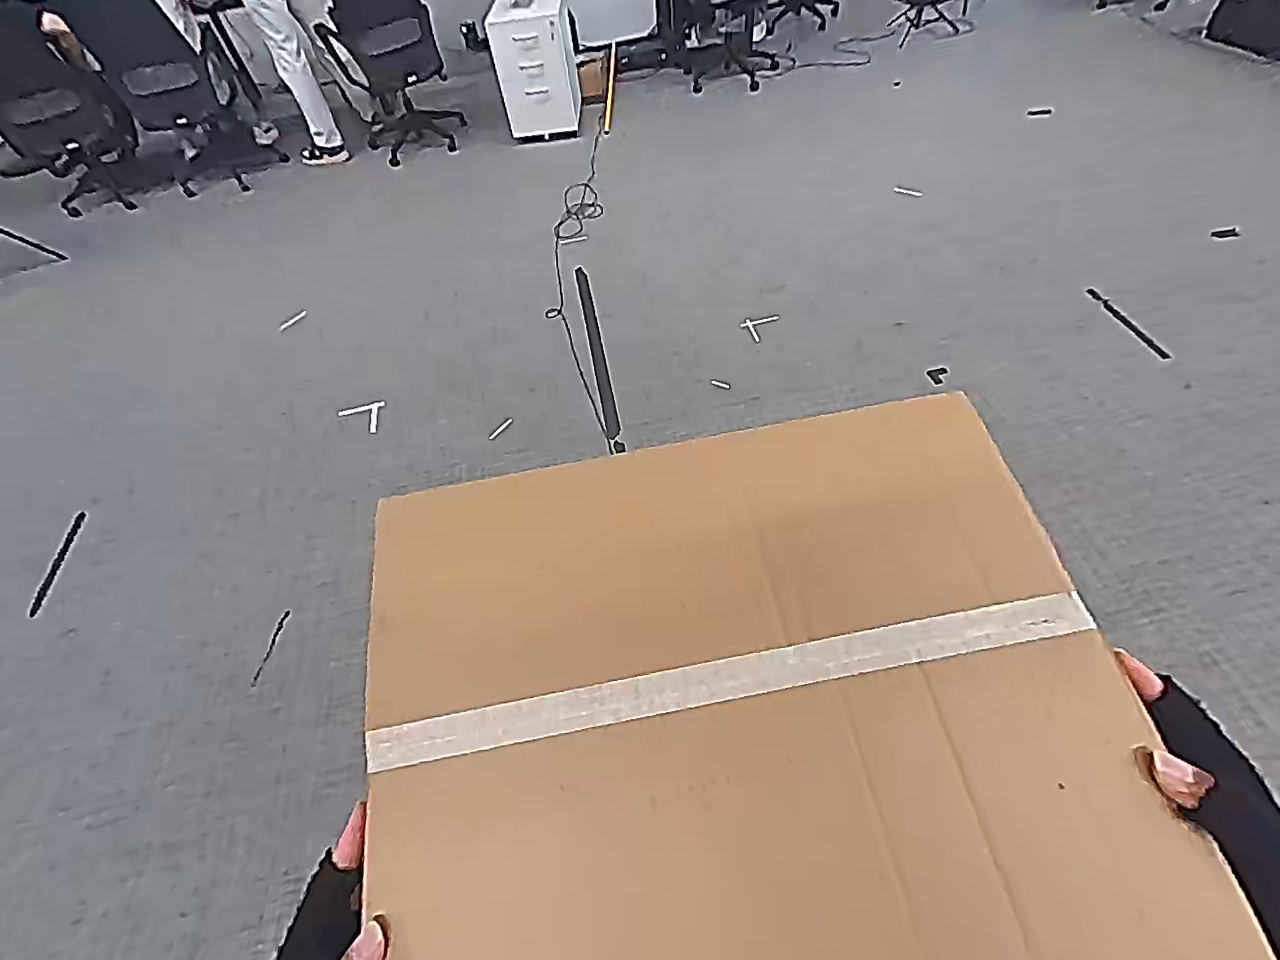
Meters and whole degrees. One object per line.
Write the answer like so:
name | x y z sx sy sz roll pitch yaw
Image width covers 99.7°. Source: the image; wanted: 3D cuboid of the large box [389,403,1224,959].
large box | 0.062 0.184 0.446 0.408 0.320 0.320 -11 64 -1
